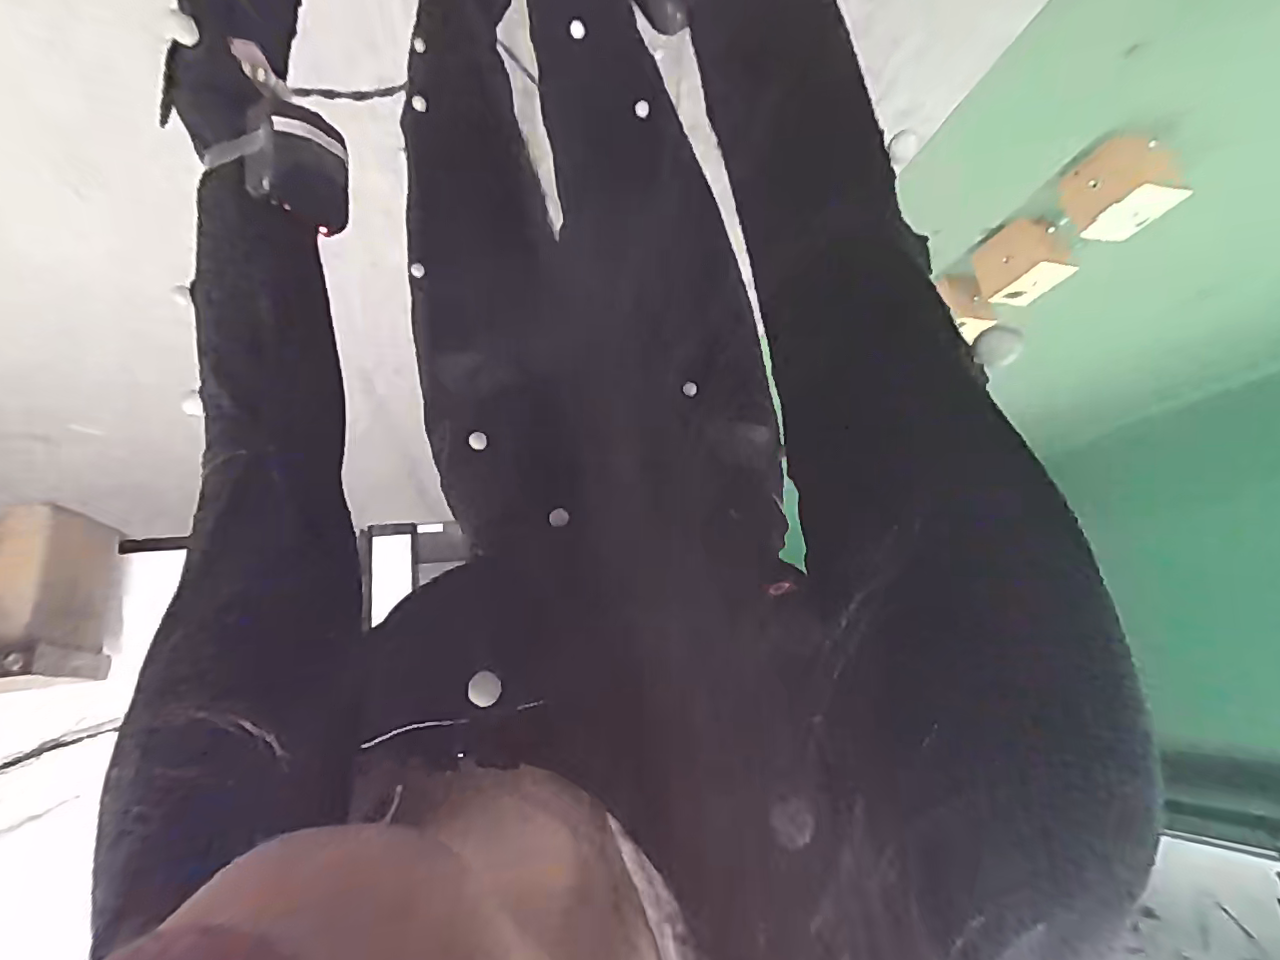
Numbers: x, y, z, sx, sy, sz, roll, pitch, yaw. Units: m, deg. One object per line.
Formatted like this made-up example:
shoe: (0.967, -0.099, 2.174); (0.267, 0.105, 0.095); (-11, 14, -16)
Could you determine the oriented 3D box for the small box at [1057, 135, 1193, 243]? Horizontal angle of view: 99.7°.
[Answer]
small box: (1.212, -0.731, 1.364); (0.179, 0.176, 0.168); (-2, 161, -17)
